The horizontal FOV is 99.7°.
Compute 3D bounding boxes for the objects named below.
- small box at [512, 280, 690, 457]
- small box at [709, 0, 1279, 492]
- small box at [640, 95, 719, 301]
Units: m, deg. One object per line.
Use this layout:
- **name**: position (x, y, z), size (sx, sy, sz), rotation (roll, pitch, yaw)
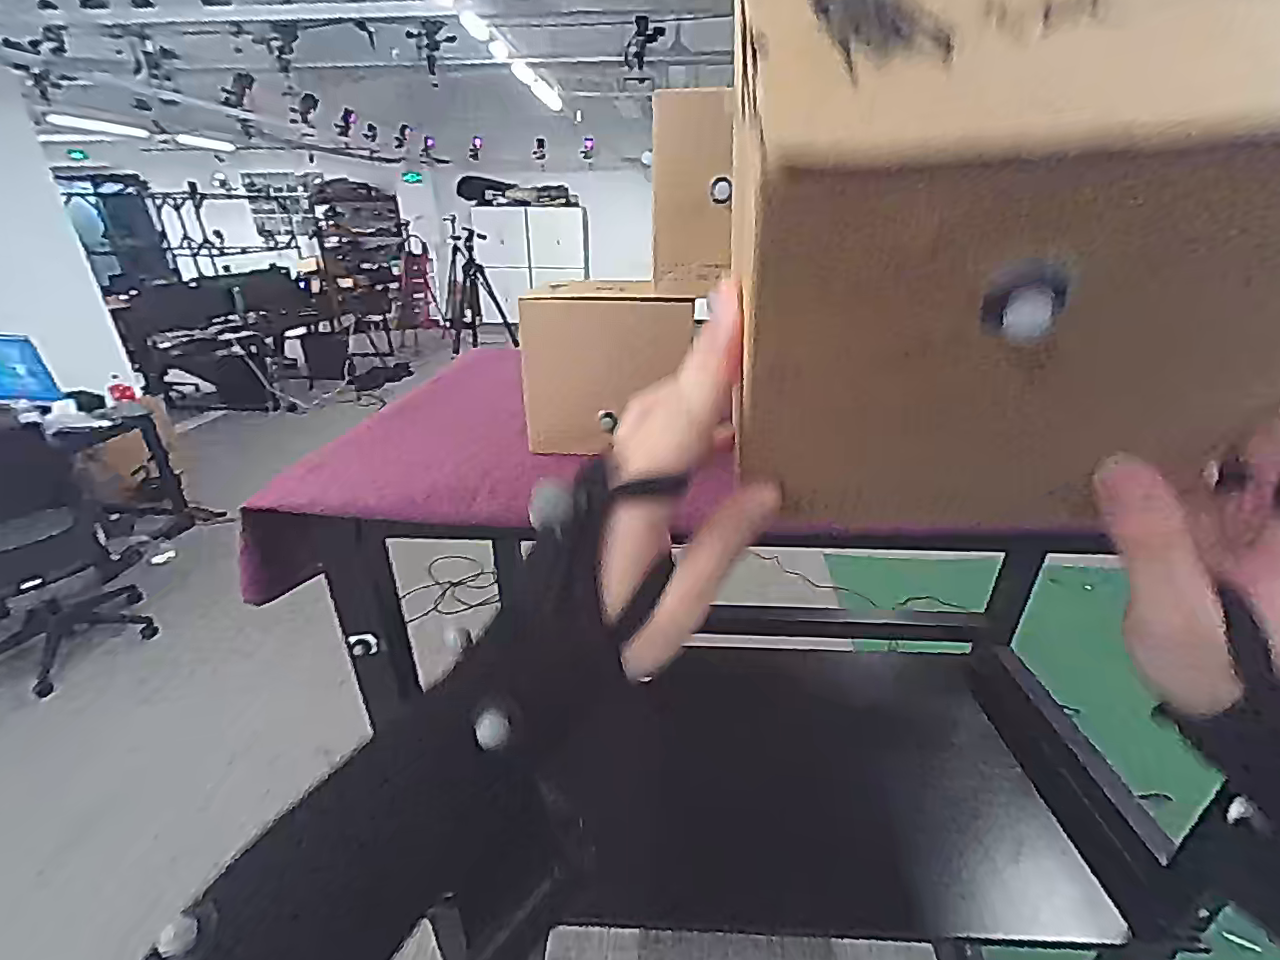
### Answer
- **small box**: position (-0.036, -0.133, 0.629), size (0.179, 0.176, 0.168), rotation (2, 26, 2)
- **small box**: position (0.121, -0.105, 0.229), size (0.179, 0.176, 0.168), rotation (-1, 56, 8)
- **small box**: position (0.091, -0.277, 0.551), size (0.168, 0.176, 0.179), rotation (1, 25, 4)
